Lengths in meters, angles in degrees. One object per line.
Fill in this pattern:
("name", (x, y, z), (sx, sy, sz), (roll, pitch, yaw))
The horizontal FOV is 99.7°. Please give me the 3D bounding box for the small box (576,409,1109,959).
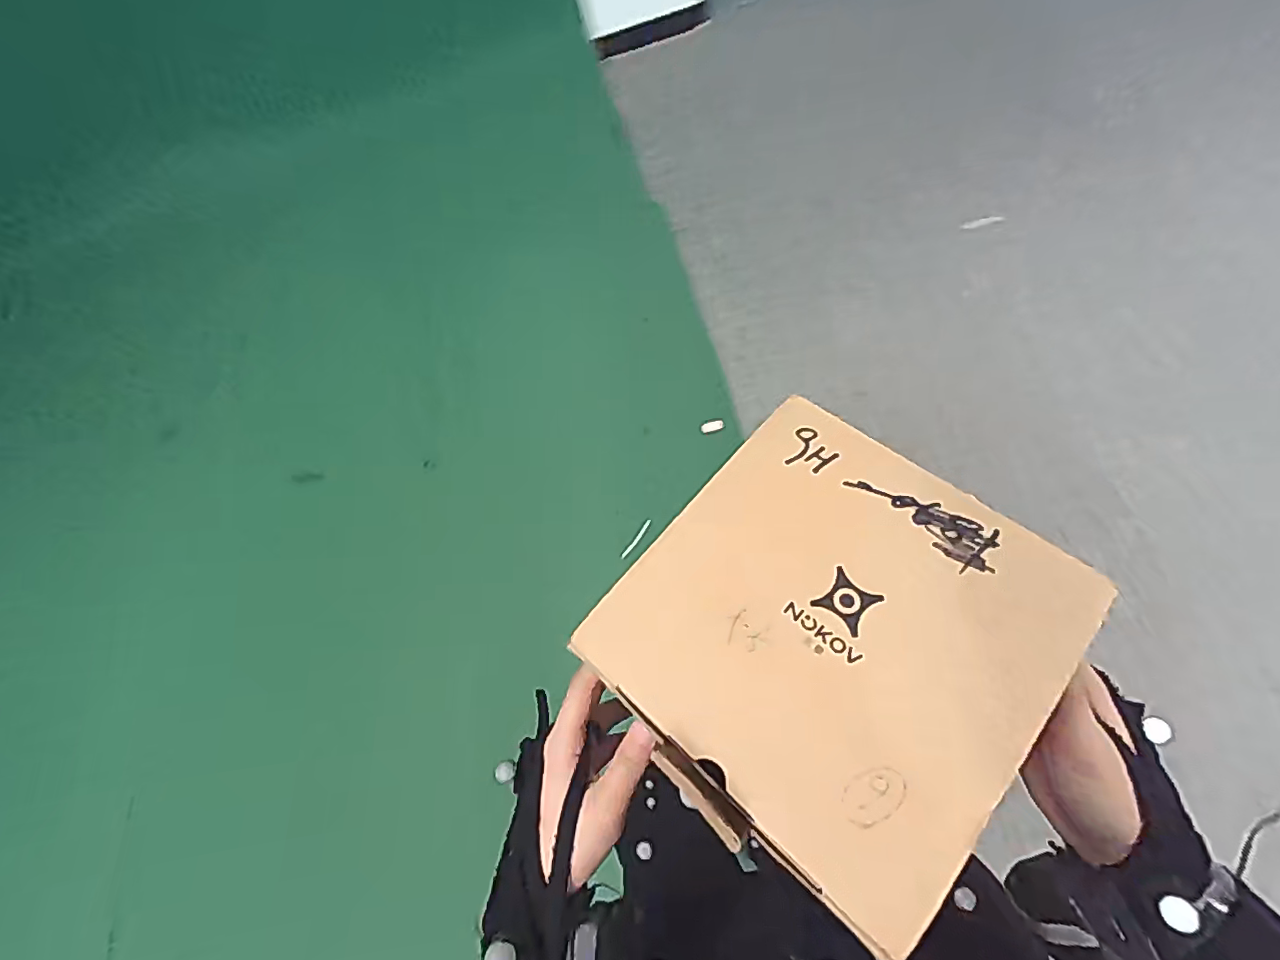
("small box", (0.096, 0.101, 0.311), (0.168, 0.176, 0.179), (38, 75, 23))
